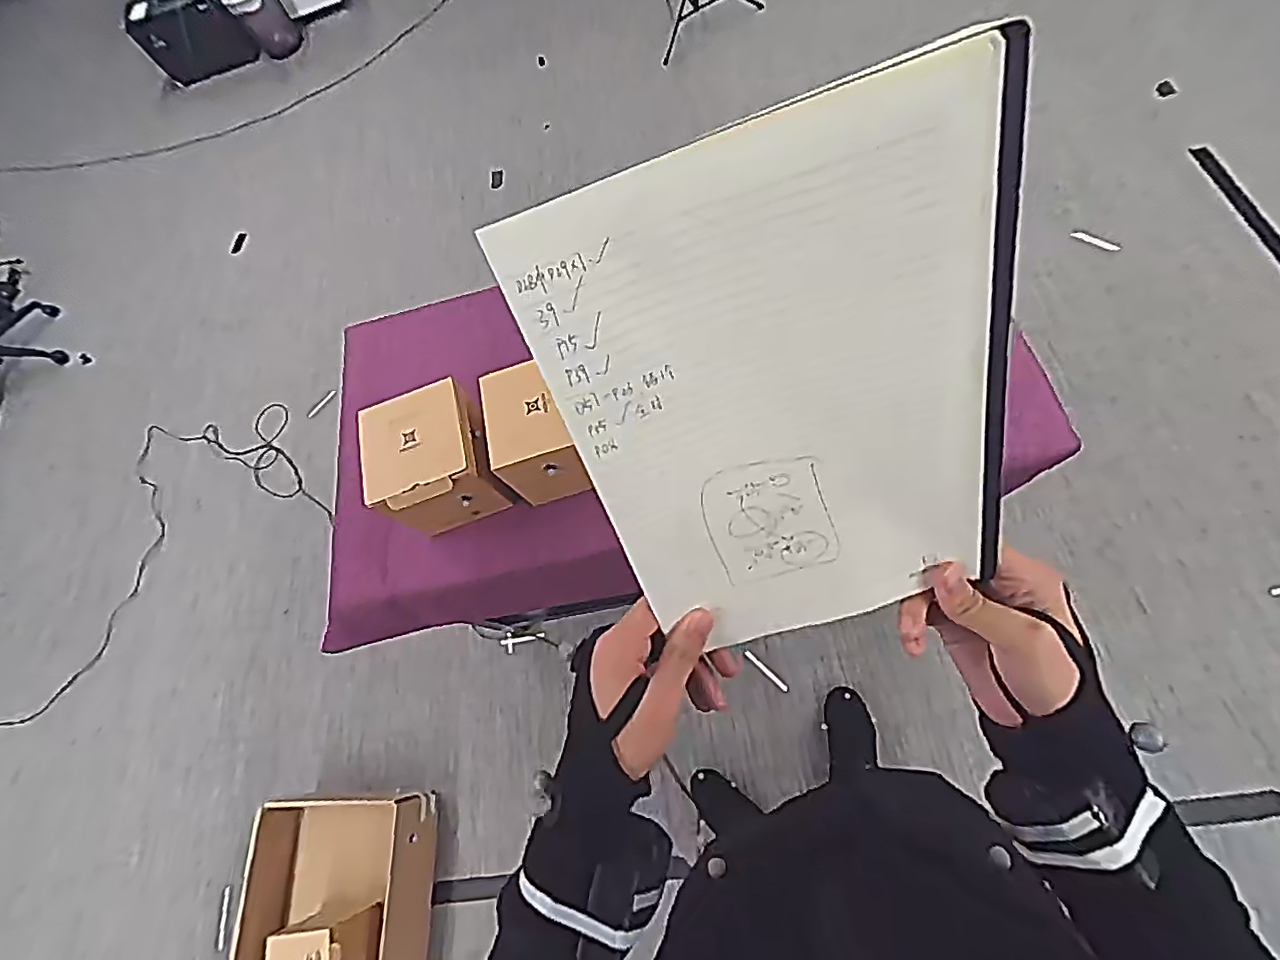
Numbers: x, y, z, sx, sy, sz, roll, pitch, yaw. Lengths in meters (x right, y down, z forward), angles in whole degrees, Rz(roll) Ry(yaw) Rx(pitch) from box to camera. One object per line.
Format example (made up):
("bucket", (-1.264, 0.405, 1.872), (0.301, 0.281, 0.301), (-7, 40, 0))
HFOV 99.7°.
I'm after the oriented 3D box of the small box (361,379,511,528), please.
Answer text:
("small box", (-0.332, -0.032, 0.900), (0.168, 0.176, 0.179), (-20, 66, 4))
